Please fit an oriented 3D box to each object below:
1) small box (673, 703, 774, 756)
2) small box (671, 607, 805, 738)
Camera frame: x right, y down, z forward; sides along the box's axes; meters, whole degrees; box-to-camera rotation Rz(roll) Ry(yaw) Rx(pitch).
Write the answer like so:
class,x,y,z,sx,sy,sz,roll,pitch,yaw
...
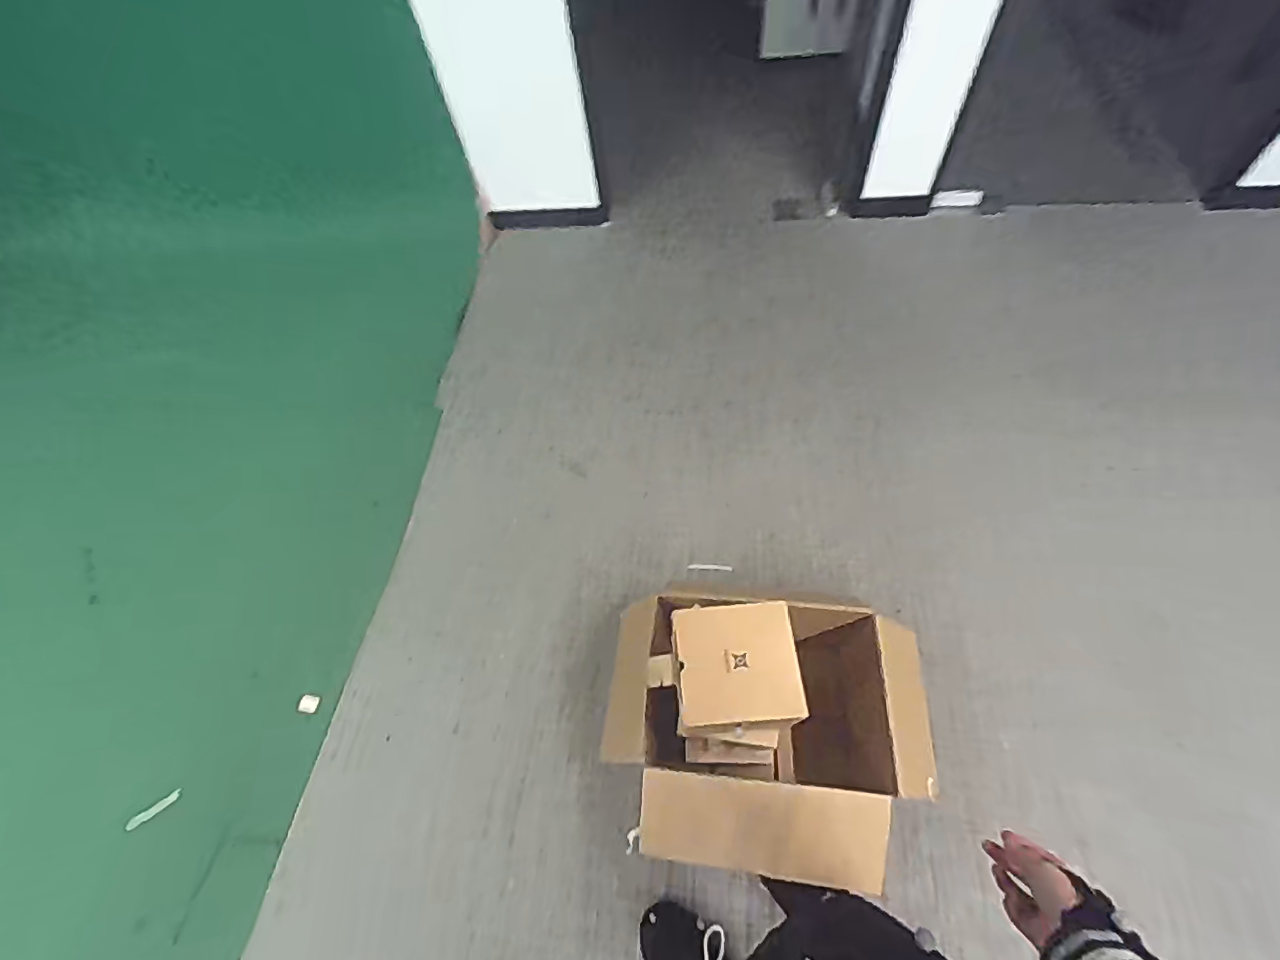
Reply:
class,x,y,z,sx,sy,sz,roll,pitch,yaw
small box,0.151,0.394,0.987,0.168,0.176,0.179,6,62,7
small box,0.141,0.307,0.850,0.179,0.176,0.168,-5,60,1
